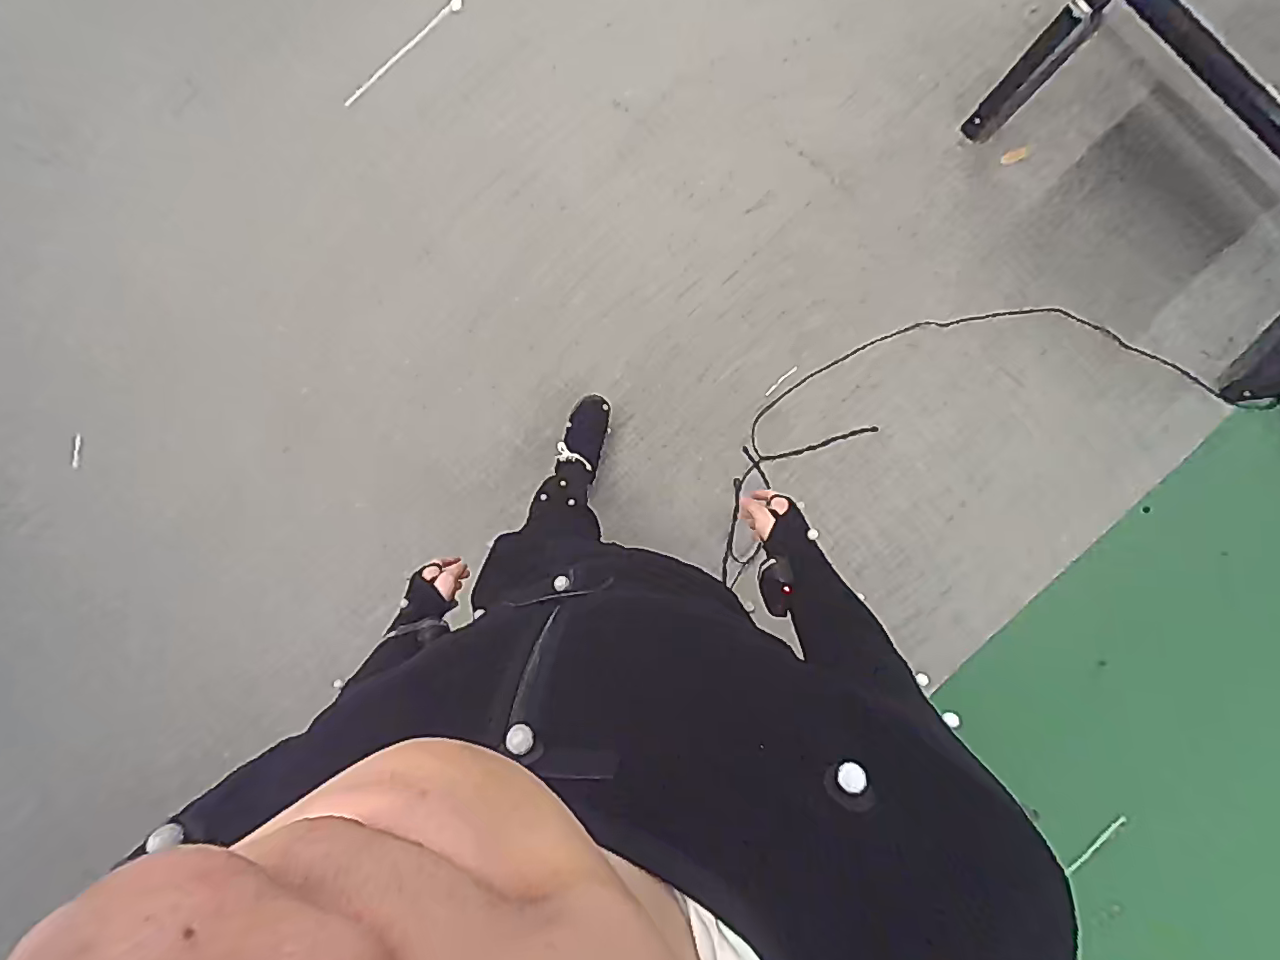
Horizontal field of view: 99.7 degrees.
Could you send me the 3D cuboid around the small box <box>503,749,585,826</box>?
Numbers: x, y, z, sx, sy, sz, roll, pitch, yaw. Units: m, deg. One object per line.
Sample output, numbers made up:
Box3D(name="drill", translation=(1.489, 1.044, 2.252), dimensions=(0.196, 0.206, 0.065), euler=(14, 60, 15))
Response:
Box3D(name="small box", translation=(-0.270, 0.911, 1.540), dimensions=(0.179, 0.176, 0.168), euler=(-39, 89, 1))
